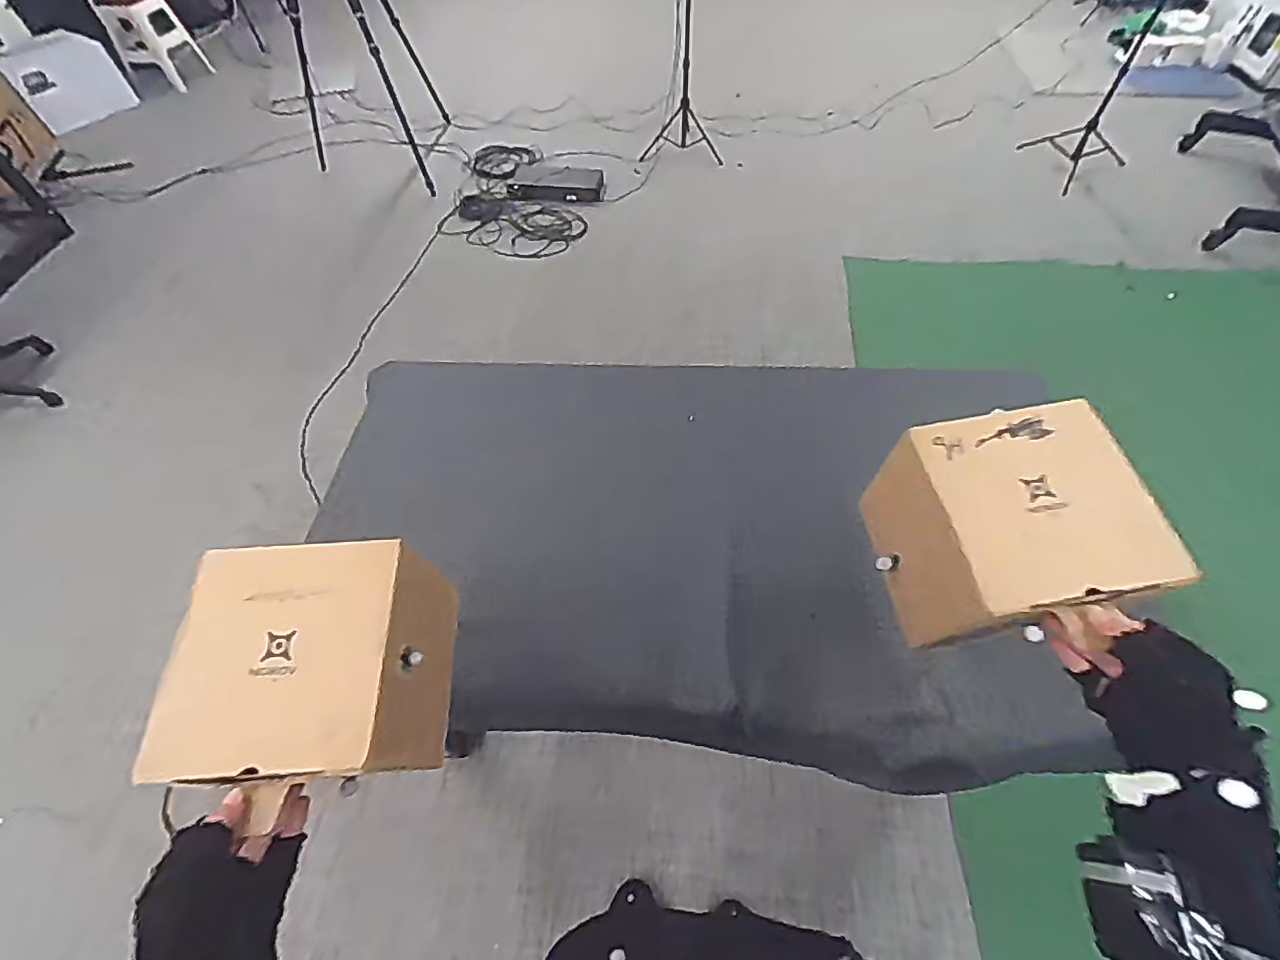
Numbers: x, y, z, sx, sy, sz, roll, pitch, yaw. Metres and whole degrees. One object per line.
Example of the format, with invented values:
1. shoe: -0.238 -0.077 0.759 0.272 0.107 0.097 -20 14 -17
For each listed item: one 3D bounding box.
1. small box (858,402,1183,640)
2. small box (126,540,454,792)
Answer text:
1. small box: 0.339 0.052 0.530 0.168 0.176 0.179 -9 63 0
2. small box: -0.276 0.167 0.480 0.168 0.176 0.179 -3 62 -2
